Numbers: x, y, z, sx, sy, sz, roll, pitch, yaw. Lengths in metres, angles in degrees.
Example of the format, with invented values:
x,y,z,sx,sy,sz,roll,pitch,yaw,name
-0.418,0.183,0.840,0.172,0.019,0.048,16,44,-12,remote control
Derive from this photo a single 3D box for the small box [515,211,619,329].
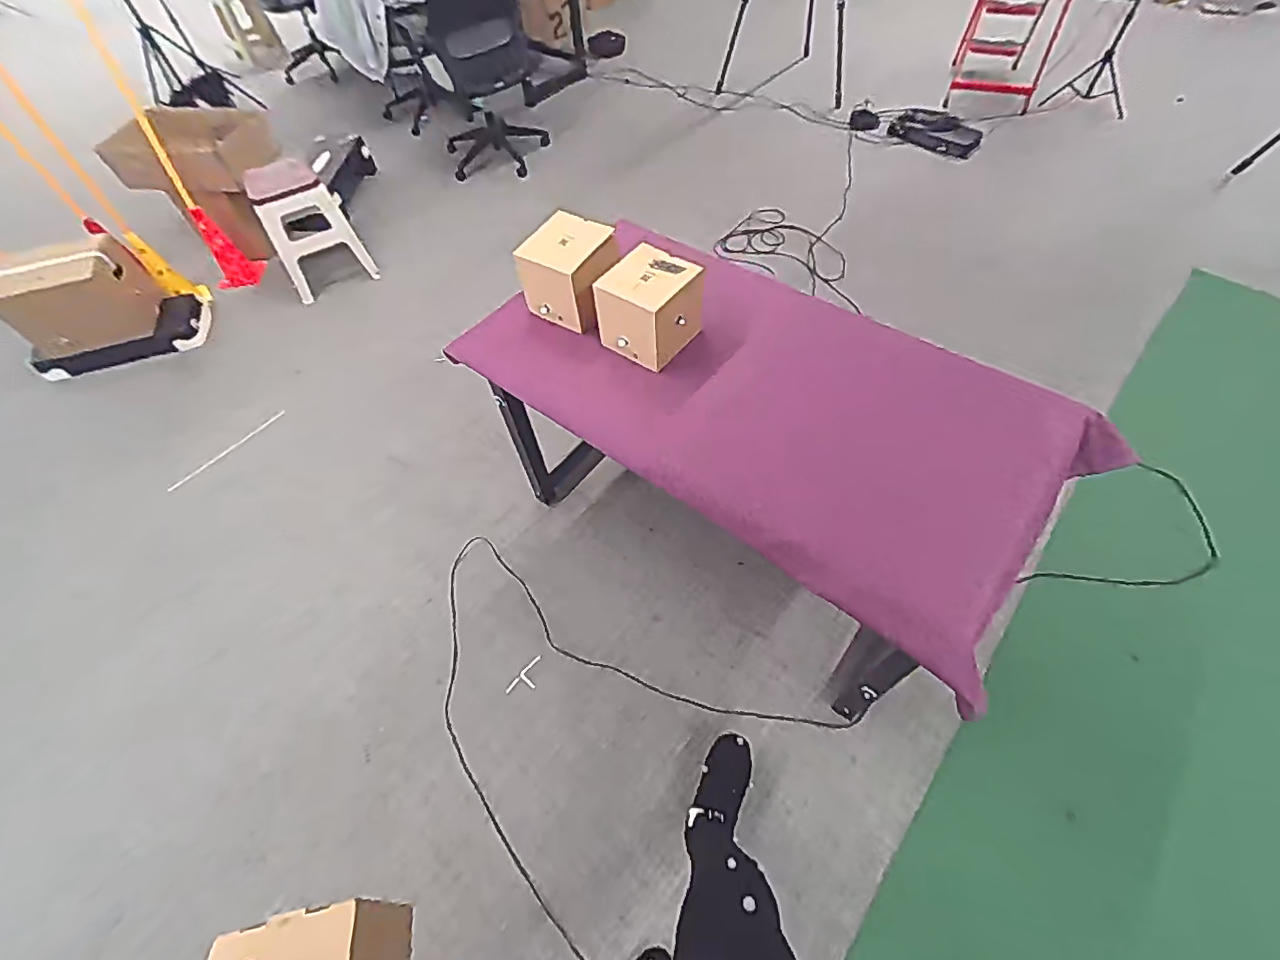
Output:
x,y,z,sx,sy,sz,roll,pitch,yaw,name
-0.160,-0.490,1.268,0.168,0.176,0.179,27,63,21,small box

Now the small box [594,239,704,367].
x,y,z,sx,sy,sz,roll,pitch,yaw,name
0.023,-0.385,1.182,0.168,0.176,0.179,32,65,23,small box
